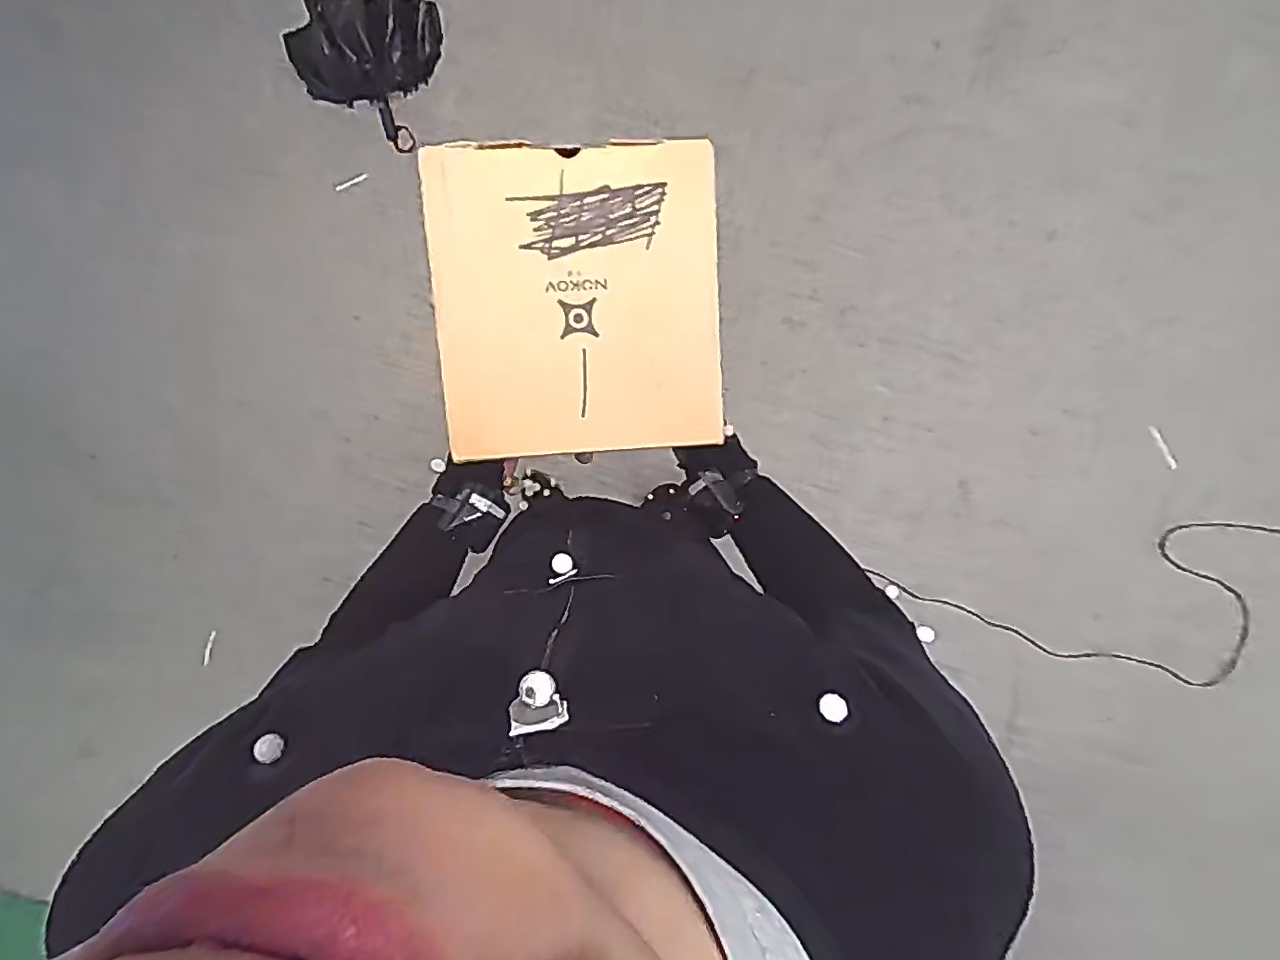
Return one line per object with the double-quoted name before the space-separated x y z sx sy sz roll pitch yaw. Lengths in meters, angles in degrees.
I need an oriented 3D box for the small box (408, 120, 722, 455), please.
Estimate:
"small box" -0.044 -0.113 0.373 0.168 0.176 0.179 -3 98 -4
